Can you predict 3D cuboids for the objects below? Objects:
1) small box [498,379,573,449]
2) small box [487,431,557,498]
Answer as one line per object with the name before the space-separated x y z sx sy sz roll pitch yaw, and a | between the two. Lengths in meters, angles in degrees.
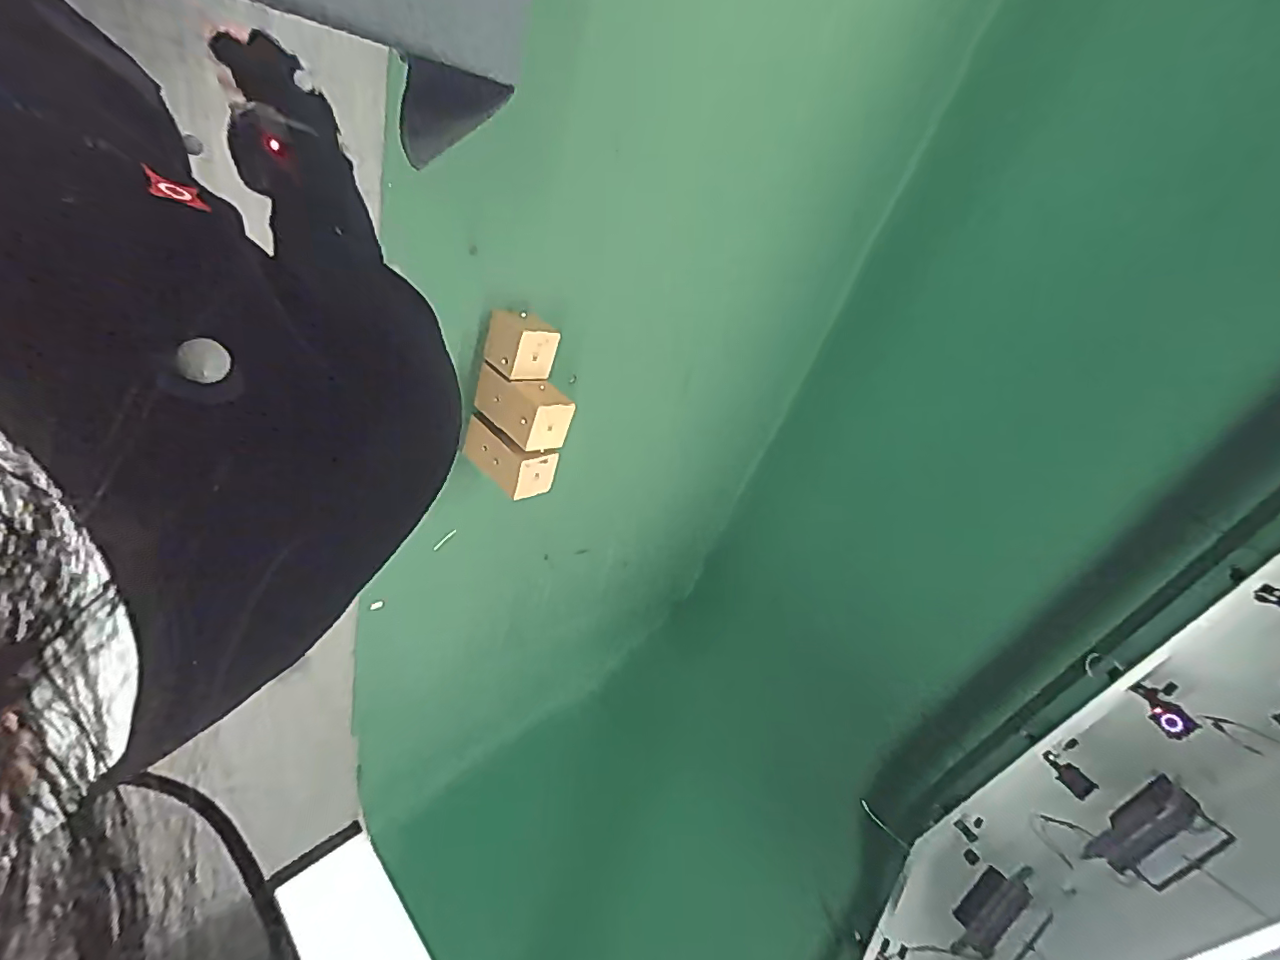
small box | -0.367 -0.229 1.868 0.168 0.176 0.179 -11 132 -49
small box | -0.435 -0.066 1.964 0.168 0.176 0.179 -18 139 -46
